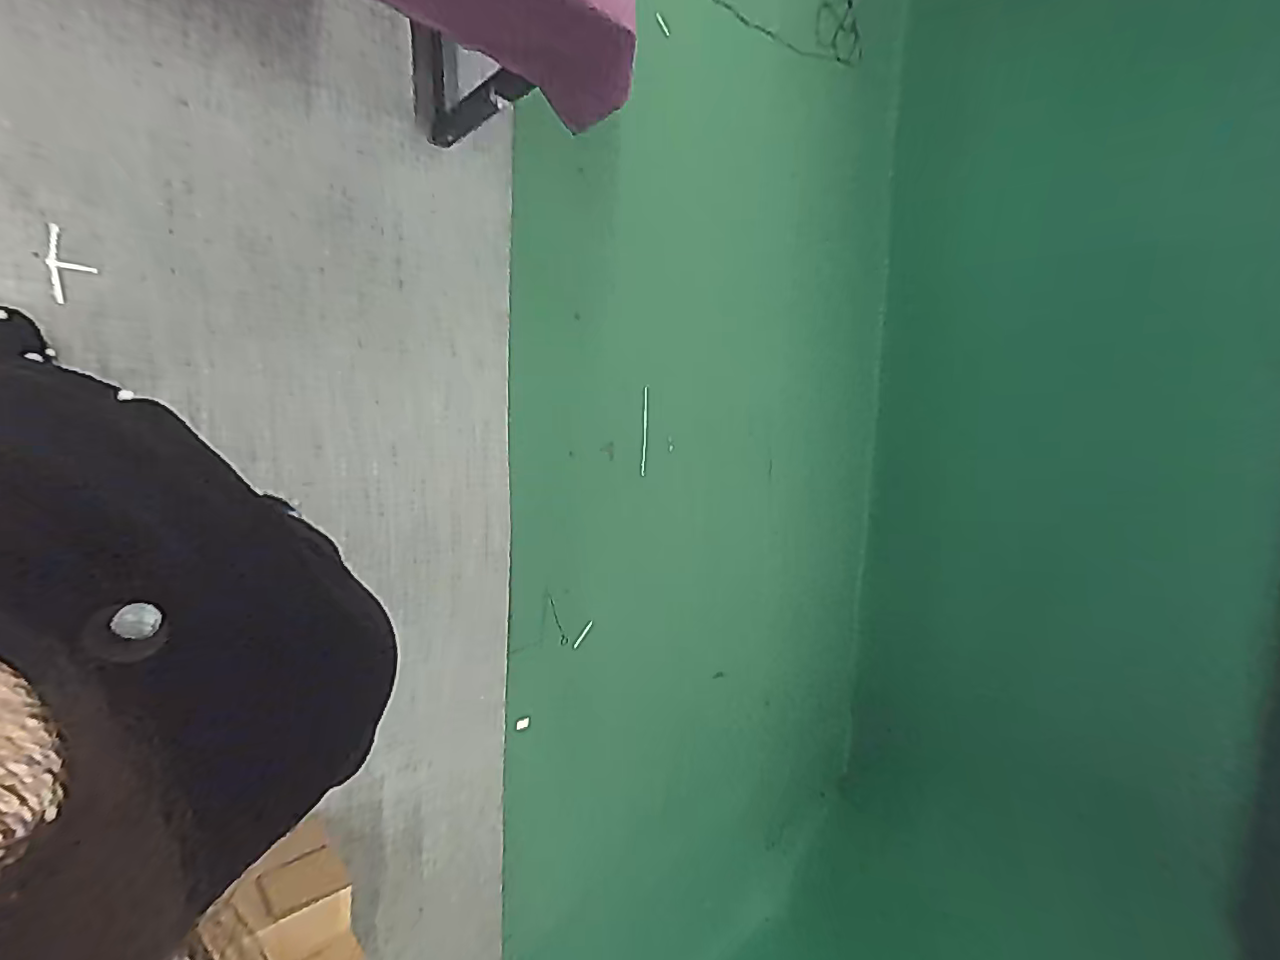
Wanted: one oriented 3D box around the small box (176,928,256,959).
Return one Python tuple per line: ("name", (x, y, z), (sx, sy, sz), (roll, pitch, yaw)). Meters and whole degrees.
("small box", (-0.788, 0.969, 0.959), (0.179, 0.176, 0.168), (-3, 99, -47))
